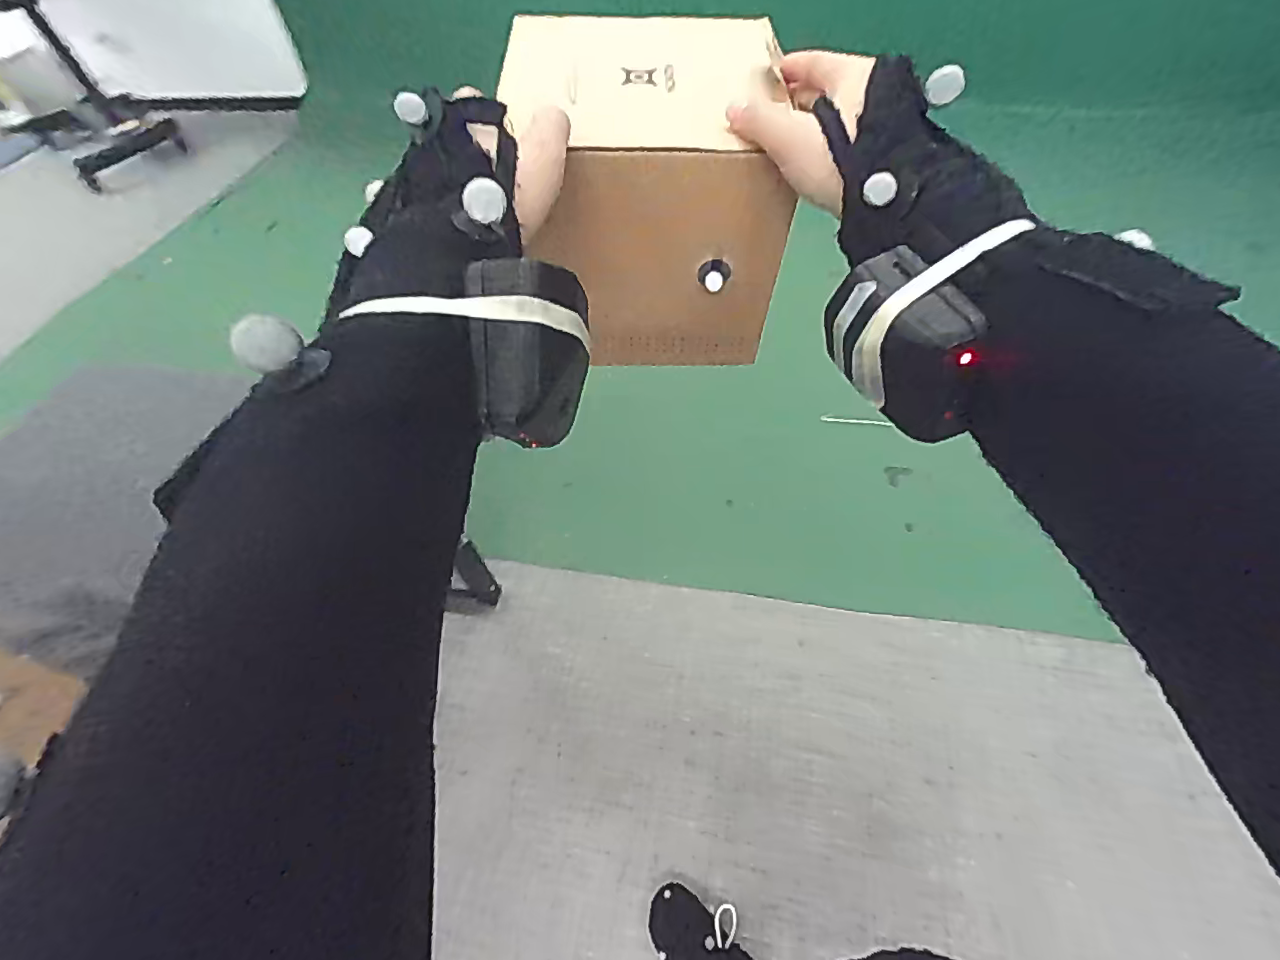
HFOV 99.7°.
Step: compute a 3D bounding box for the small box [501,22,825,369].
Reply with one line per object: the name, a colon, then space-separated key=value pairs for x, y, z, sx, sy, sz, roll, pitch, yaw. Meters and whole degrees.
small box: x=0.012 y=-0.196 z=0.395 sx=0.179 sy=0.176 sz=0.168 roll=-1 pitch=58 yaw=0
